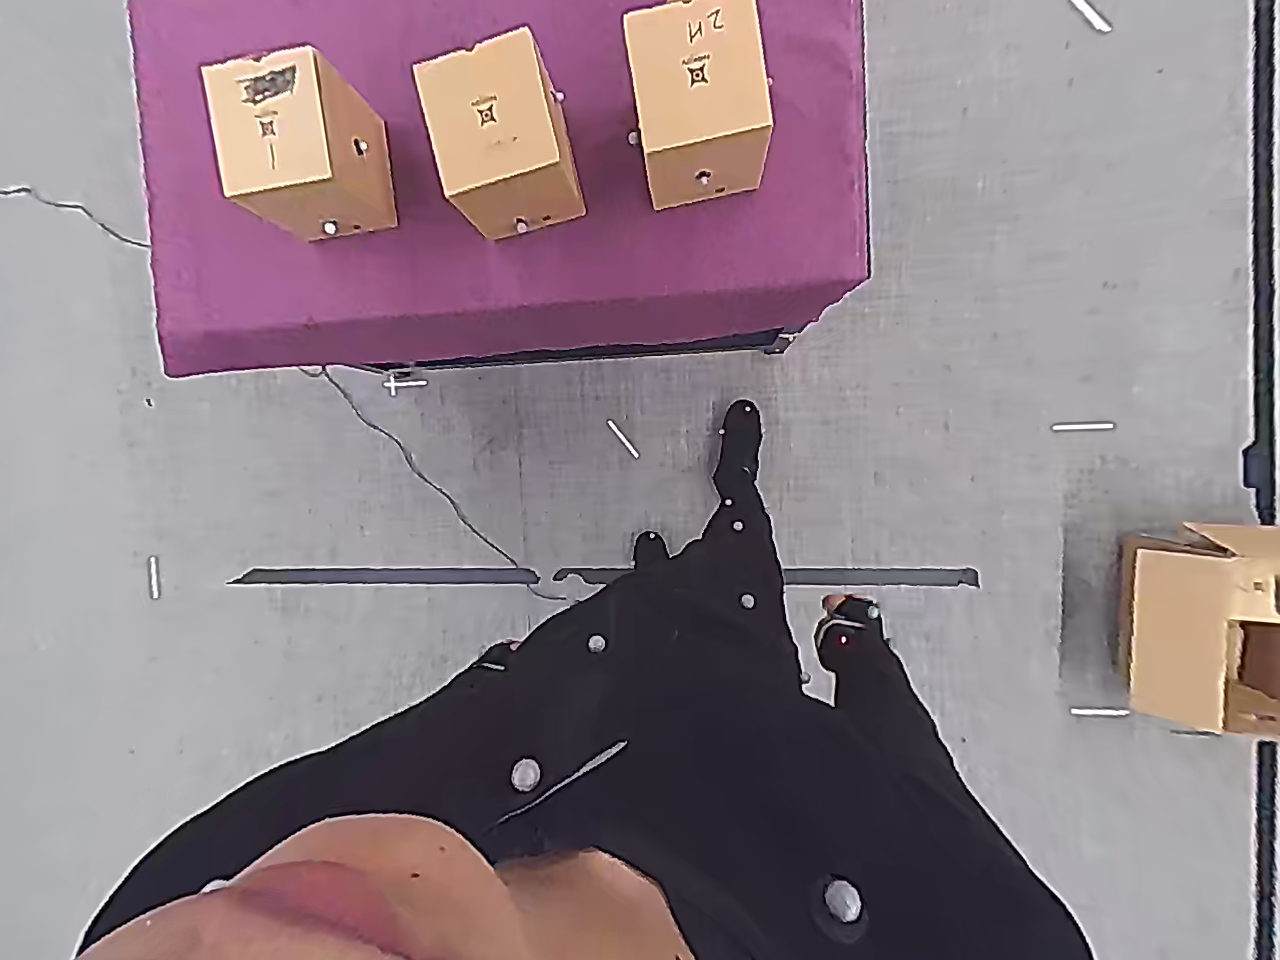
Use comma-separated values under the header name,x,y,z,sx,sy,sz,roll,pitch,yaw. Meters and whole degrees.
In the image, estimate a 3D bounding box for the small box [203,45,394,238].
name,x,y,z,sx,sy,sz,roll,pitch,yaw
small box,-0.497,-0.491,0.810,0.168,0.176,0.179,-6,94,6

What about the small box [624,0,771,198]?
name,x,y,z,sx,sy,sz,roll,pitch,yaw
small box,0.080,-0.517,0.748,0.168,0.176,0.179,-9,92,6

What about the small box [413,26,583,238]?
name,x,y,z,sx,sy,sz,roll,pitch,yaw
small box,-0.193,-0.484,0.780,0.168,0.176,0.179,-13,92,7
